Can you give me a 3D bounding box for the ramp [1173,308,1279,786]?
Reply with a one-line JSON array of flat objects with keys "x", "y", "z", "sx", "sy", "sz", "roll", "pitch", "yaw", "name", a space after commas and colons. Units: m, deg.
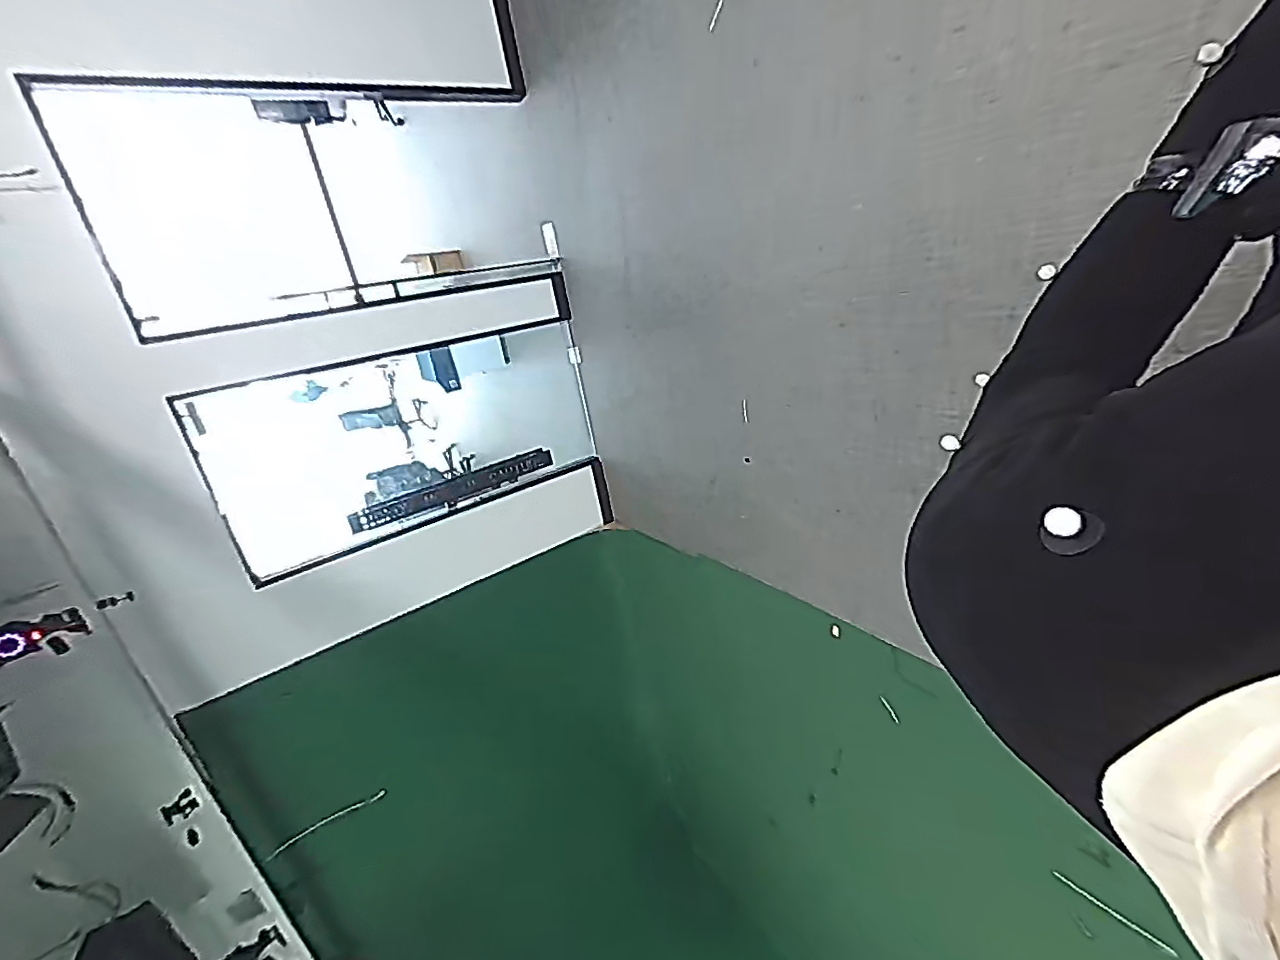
[{"x": 1.389, "y": 0.177, "z": 0.975, "sx": 0.509, "sy": 0.206, "sz": 0.991, "roll": 17, "pitch": 122, "yaw": 56, "name": "ramp"}]
